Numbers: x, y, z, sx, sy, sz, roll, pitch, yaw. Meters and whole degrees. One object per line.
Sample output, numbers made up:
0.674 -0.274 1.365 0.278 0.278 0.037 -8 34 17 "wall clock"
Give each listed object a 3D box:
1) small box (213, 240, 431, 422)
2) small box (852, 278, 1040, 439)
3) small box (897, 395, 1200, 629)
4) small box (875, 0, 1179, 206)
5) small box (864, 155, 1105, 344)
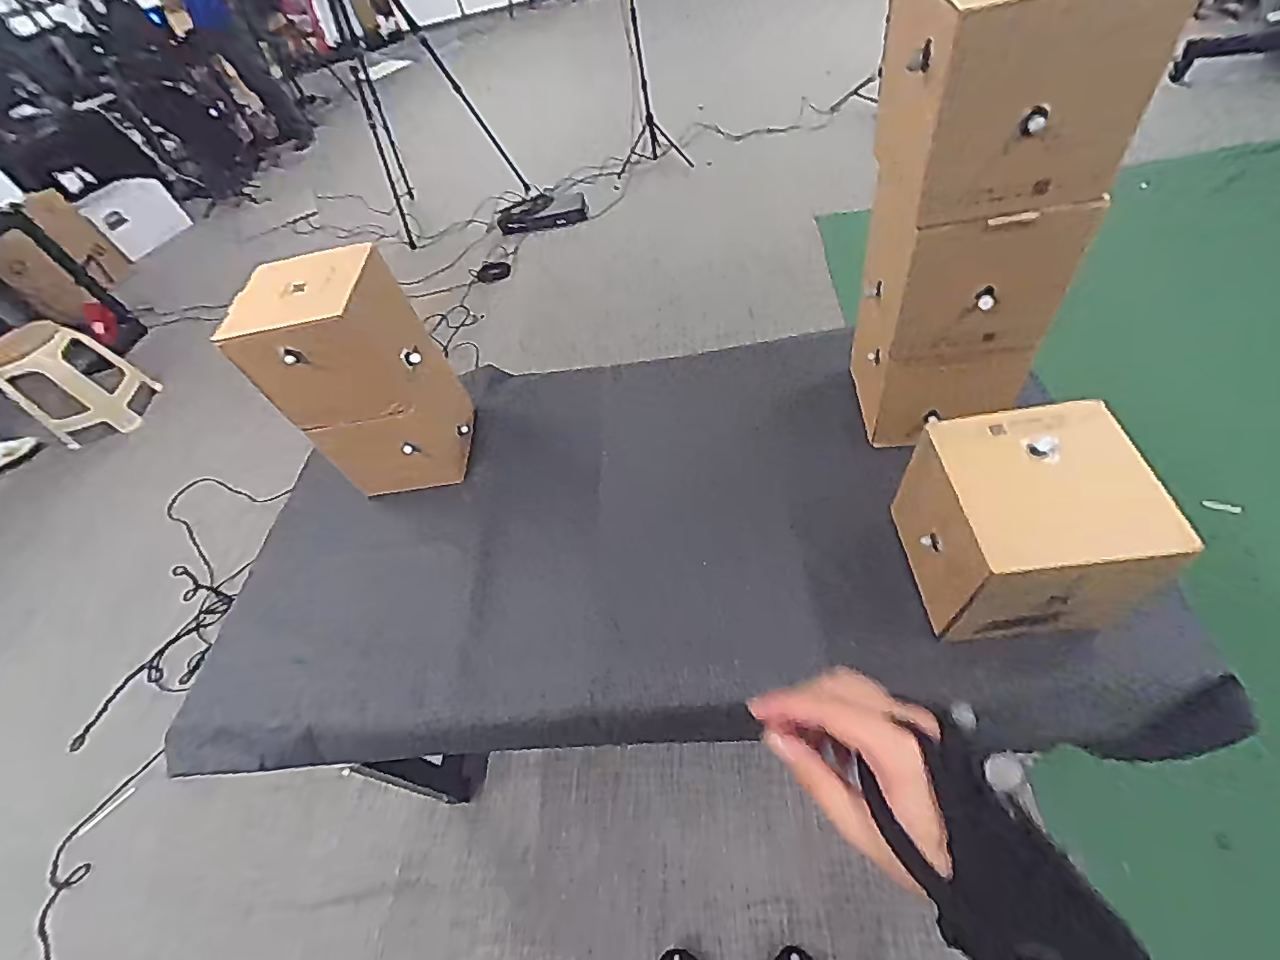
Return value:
-0.422 -0.199 0.752 0.179 0.176 0.168 -9 54 5 "small box"
0.400 -0.179 0.747 0.168 0.176 0.179 -5 53 11 "small box"
0.385 0.039 0.558 0.168 0.179 0.176 -8 55 7 "small box"
0.326 -0.369 0.488 0.168 0.176 0.179 -5 53 9 "small box"
0.365 -0.271 0.616 0.168 0.176 0.179 -4 54 11 "small box"
